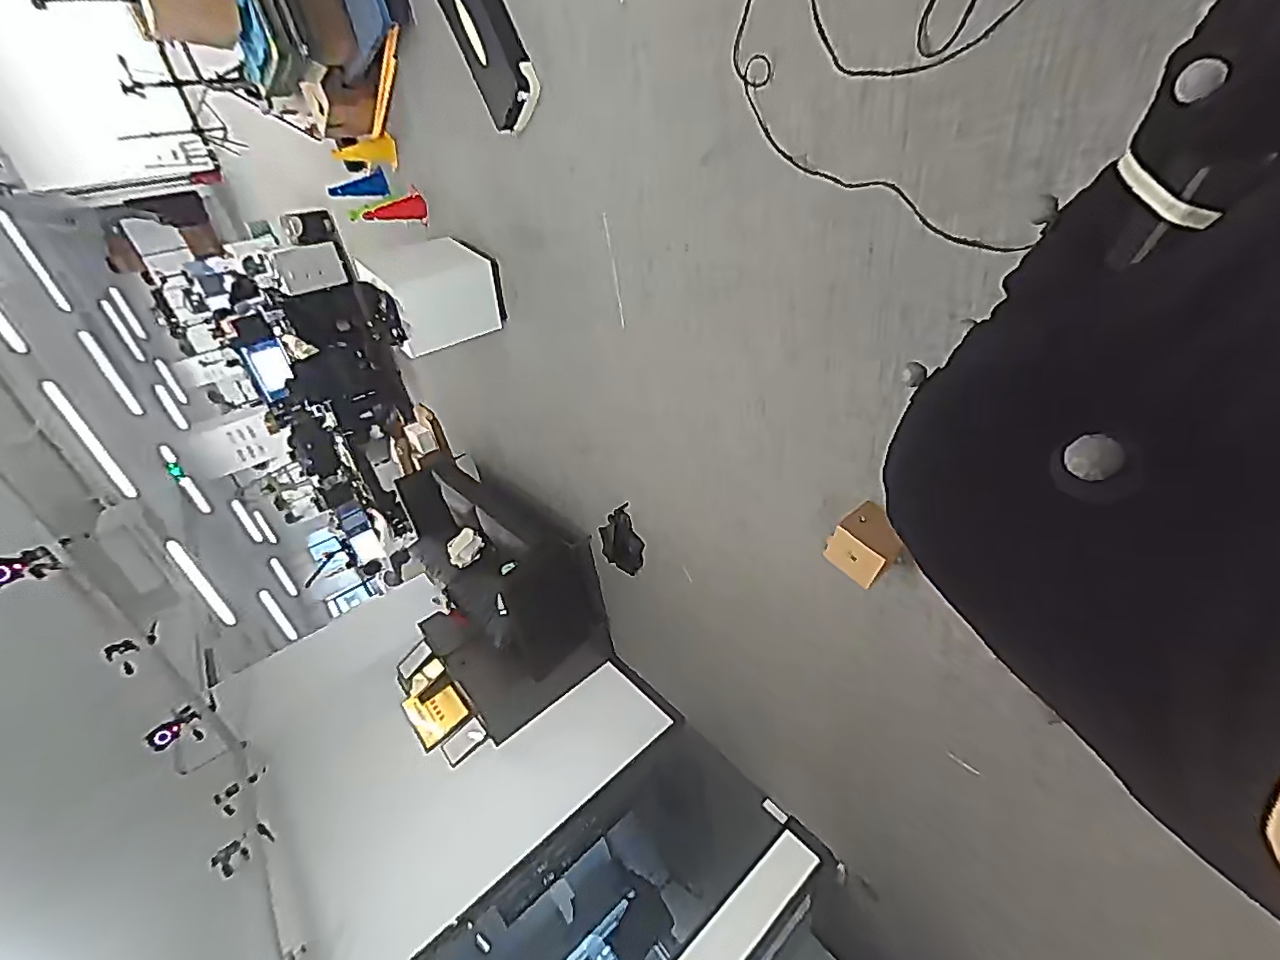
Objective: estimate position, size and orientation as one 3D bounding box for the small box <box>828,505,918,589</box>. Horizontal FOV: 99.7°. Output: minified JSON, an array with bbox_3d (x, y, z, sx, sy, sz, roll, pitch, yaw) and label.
[{"bbox_3d":[0.738,0.204,1.718,0.179,0.176,0.168,40,146,31],"label":"small box"}]
